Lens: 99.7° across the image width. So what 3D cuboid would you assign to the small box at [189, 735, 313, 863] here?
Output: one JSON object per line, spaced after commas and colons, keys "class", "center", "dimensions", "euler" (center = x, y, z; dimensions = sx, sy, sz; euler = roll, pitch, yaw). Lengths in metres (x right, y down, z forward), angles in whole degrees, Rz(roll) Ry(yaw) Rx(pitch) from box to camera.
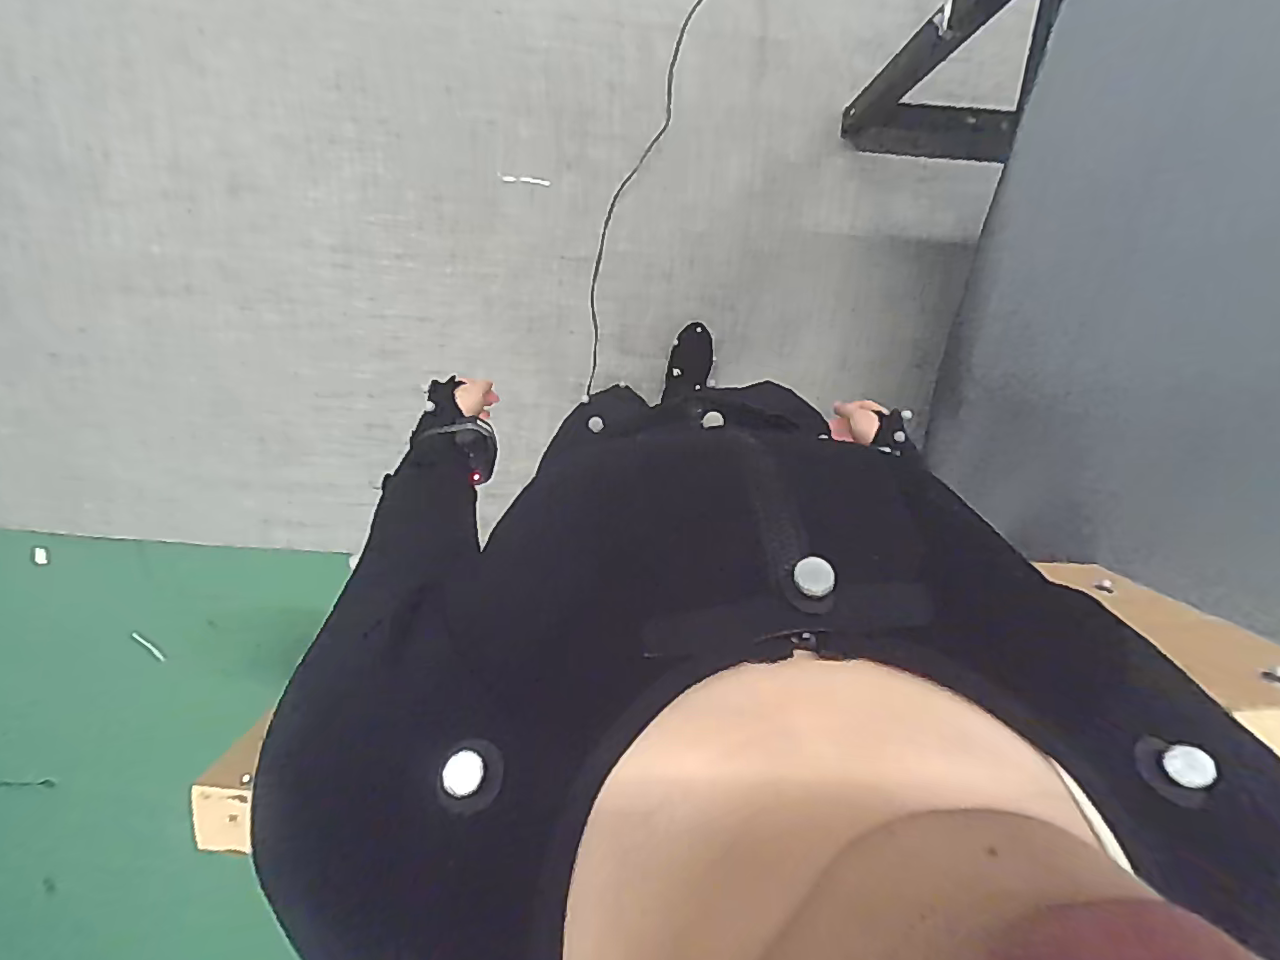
{"class": "small box", "center": [-0.872, 0.719, 1.228], "dimensions": [0.168, 0.176, 0.179], "euler": [8, 104, -2]}
